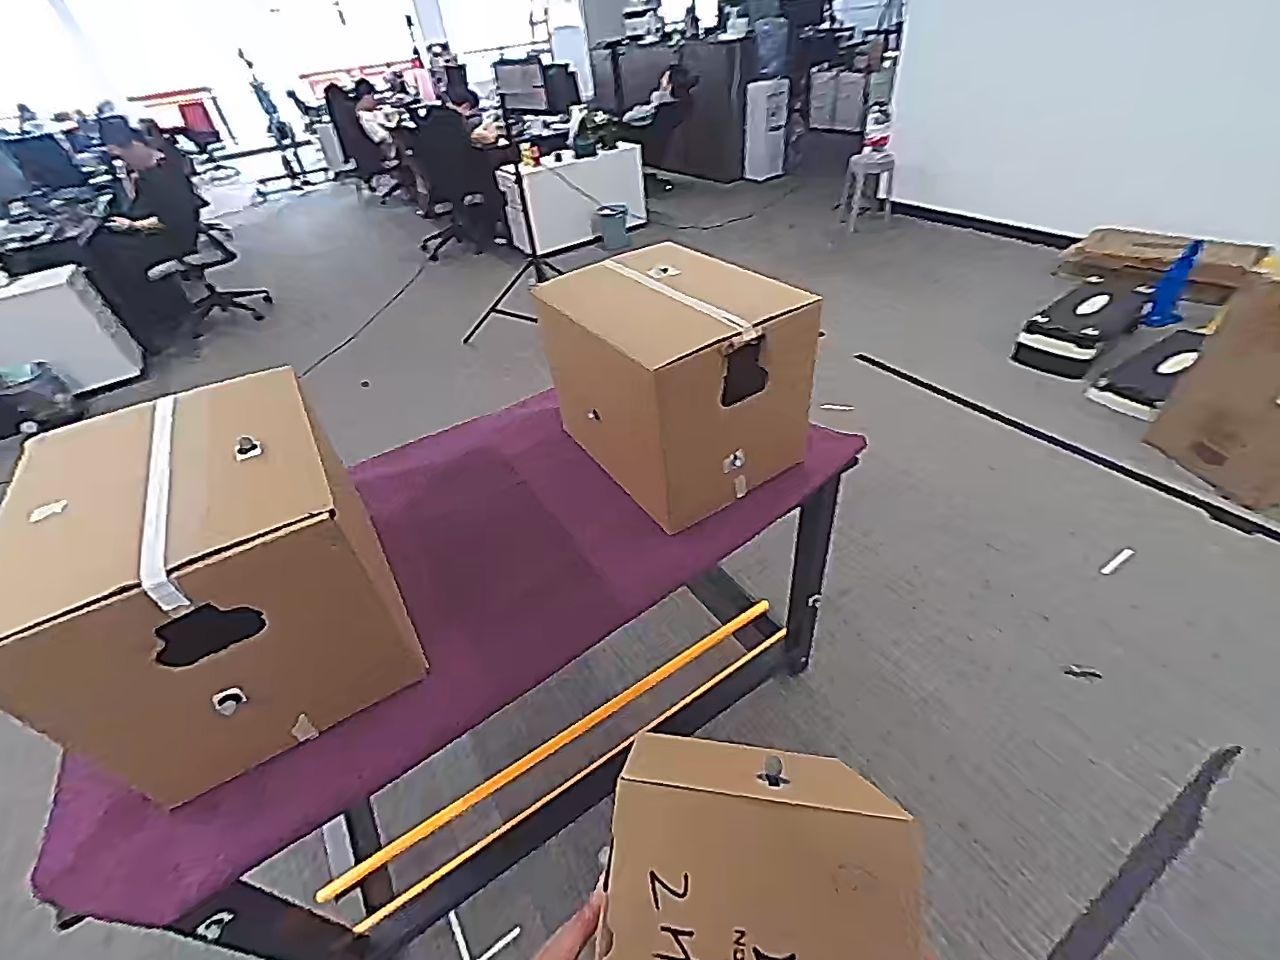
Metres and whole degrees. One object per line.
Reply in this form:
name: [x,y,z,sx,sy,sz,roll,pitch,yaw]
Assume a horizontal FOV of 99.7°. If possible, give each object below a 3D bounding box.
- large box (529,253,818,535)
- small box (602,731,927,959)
large box: [0.055,-0.175,0.977,0.320,0.320,0.408,-27,43,-21]
small box: [0.072,0.282,0.371,0.179,0.176,0.168,5,74,6]
